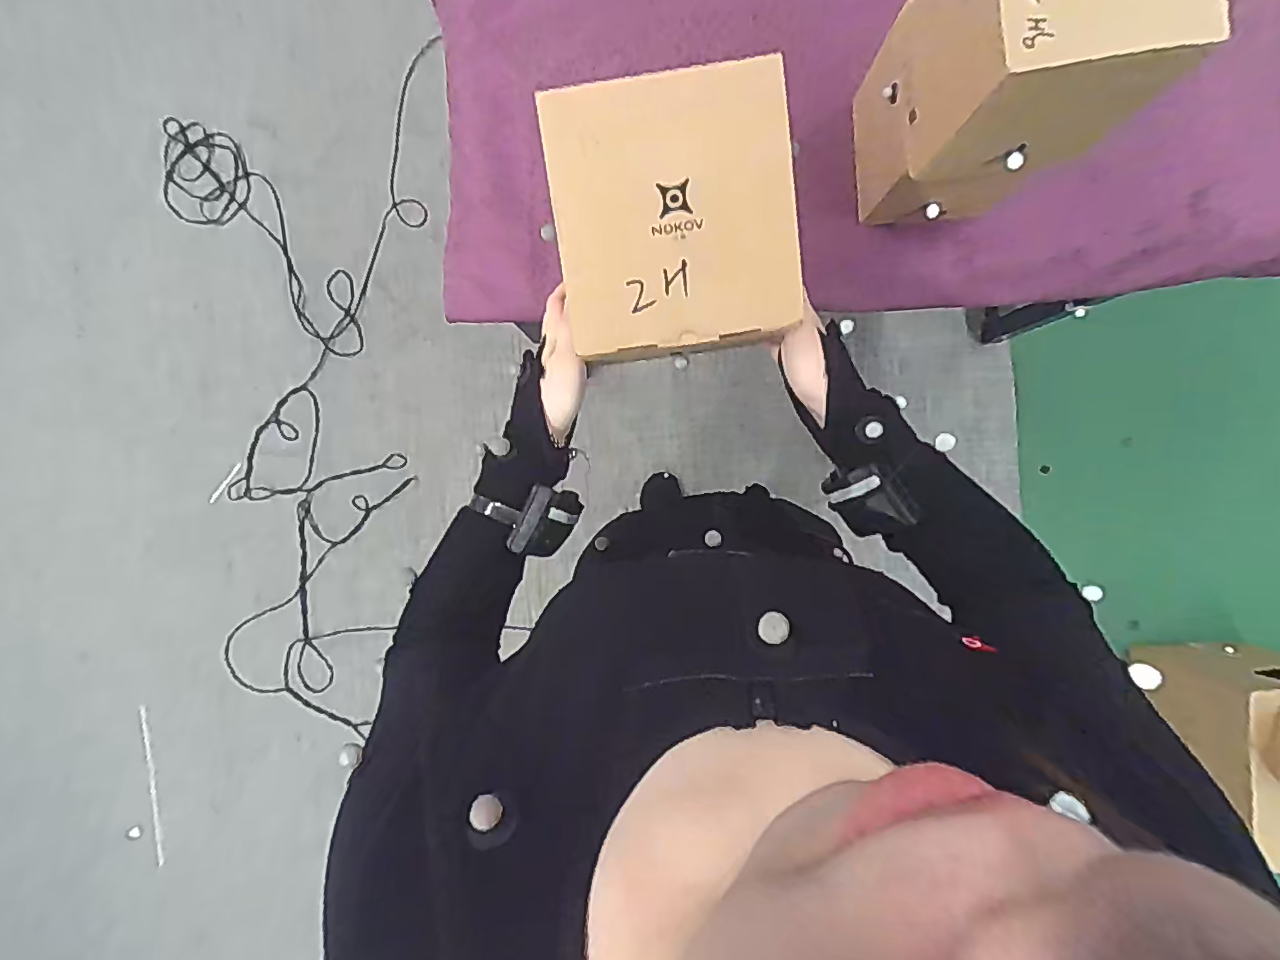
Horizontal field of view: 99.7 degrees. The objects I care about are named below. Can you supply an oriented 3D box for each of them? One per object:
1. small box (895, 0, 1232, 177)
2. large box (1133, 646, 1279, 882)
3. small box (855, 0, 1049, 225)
[{"bbox_3d":[0.364,-0.410,0.497,0.179,0.176,0.168,-6,91,2],"label":"small box"},{"bbox_3d":[1.475,0.649,1.296,0.320,0.320,0.408,-3,91,3],"label":"large box"},{"bbox_3d":[0.375,-0.440,0.660,0.168,0.176,0.179,-3,91,2],"label":"small box"}]
